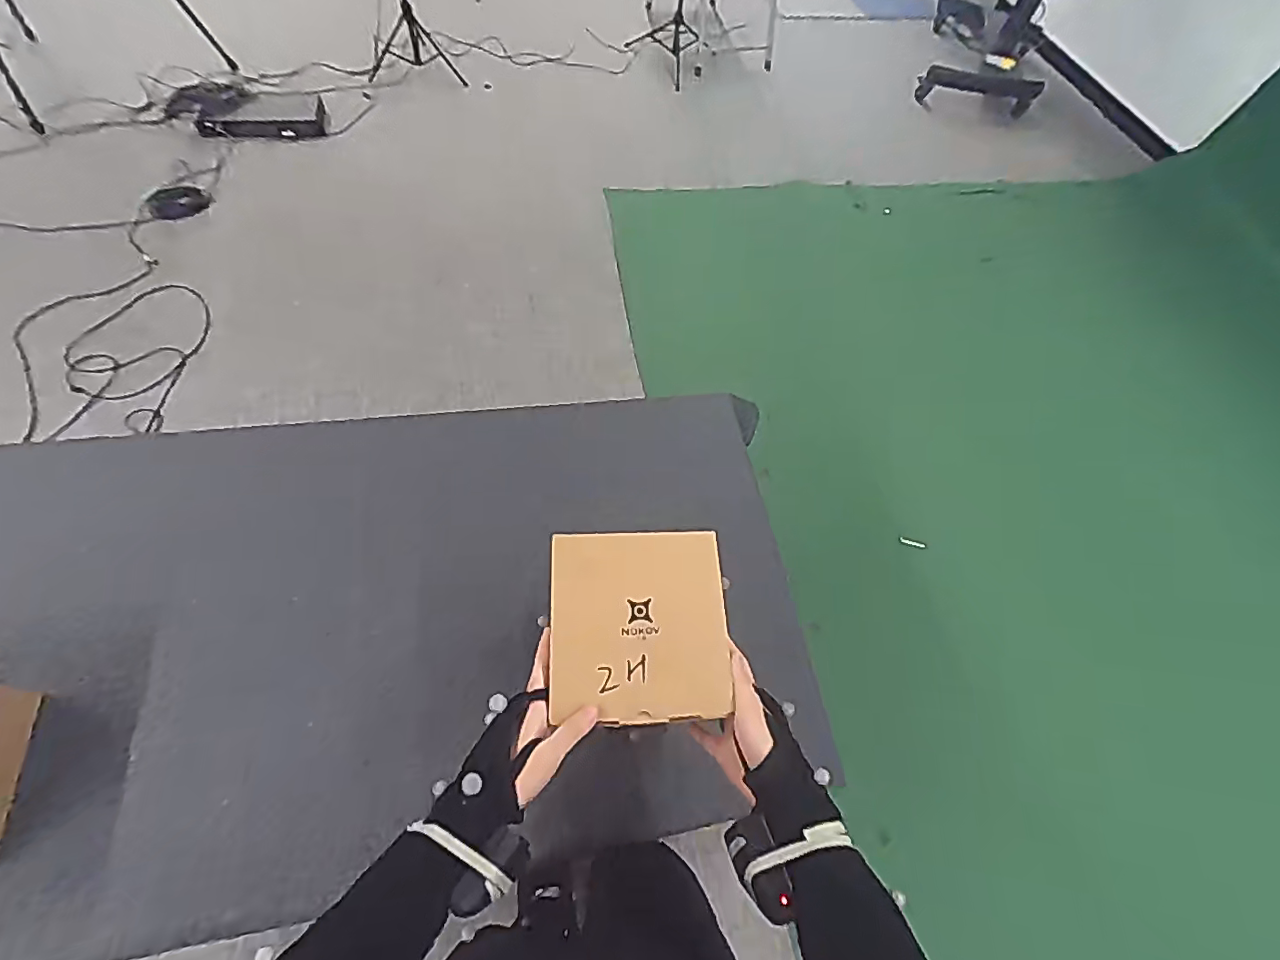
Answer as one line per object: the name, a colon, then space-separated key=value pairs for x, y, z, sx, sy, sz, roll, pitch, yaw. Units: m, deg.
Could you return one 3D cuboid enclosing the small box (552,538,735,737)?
small box: x=-0.005 y=0.174 z=0.582 sx=0.168 sy=0.176 sz=0.179 roll=-2 pitch=64 yaw=-4
